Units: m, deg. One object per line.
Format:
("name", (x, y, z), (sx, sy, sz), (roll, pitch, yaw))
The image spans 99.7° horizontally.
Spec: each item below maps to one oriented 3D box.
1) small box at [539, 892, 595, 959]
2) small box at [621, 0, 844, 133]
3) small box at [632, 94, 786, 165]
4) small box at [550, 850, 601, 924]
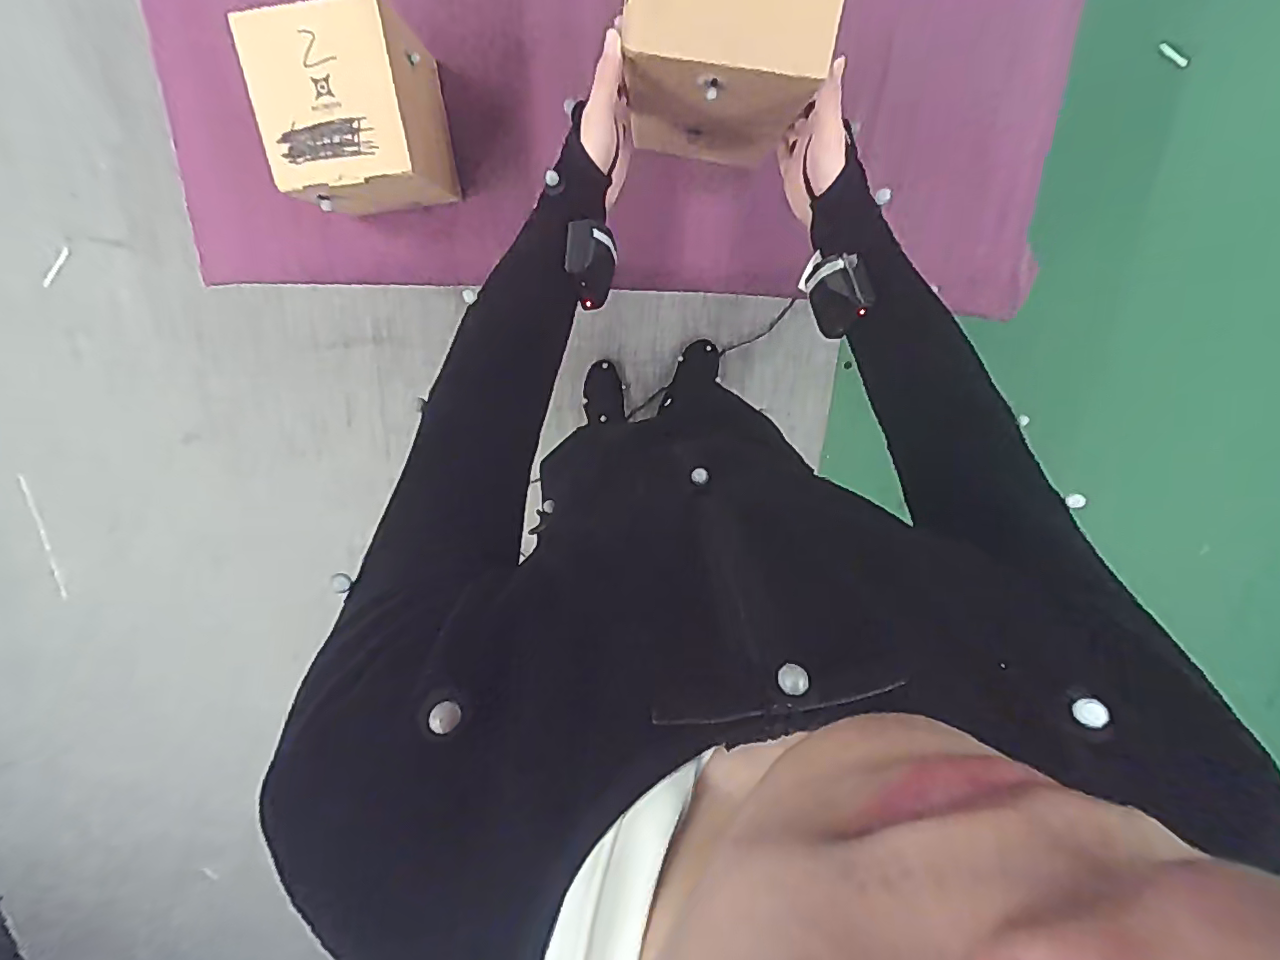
("small box", (-0.266, 1.648, 1.974), (0.179, 0.176, 0.168), (5, 108, -1))
("small box", (0.084, -0.442, 0.497), (0.179, 0.176, 0.168), (8, 110, -1))
("small box", (0.090, -0.497, 0.650), (0.179, 0.176, 0.168), (9, 109, -2))
("small box", (-0.255, 1.596, 2.127), (0.179, 0.176, 0.168), (5, 110, 0))
